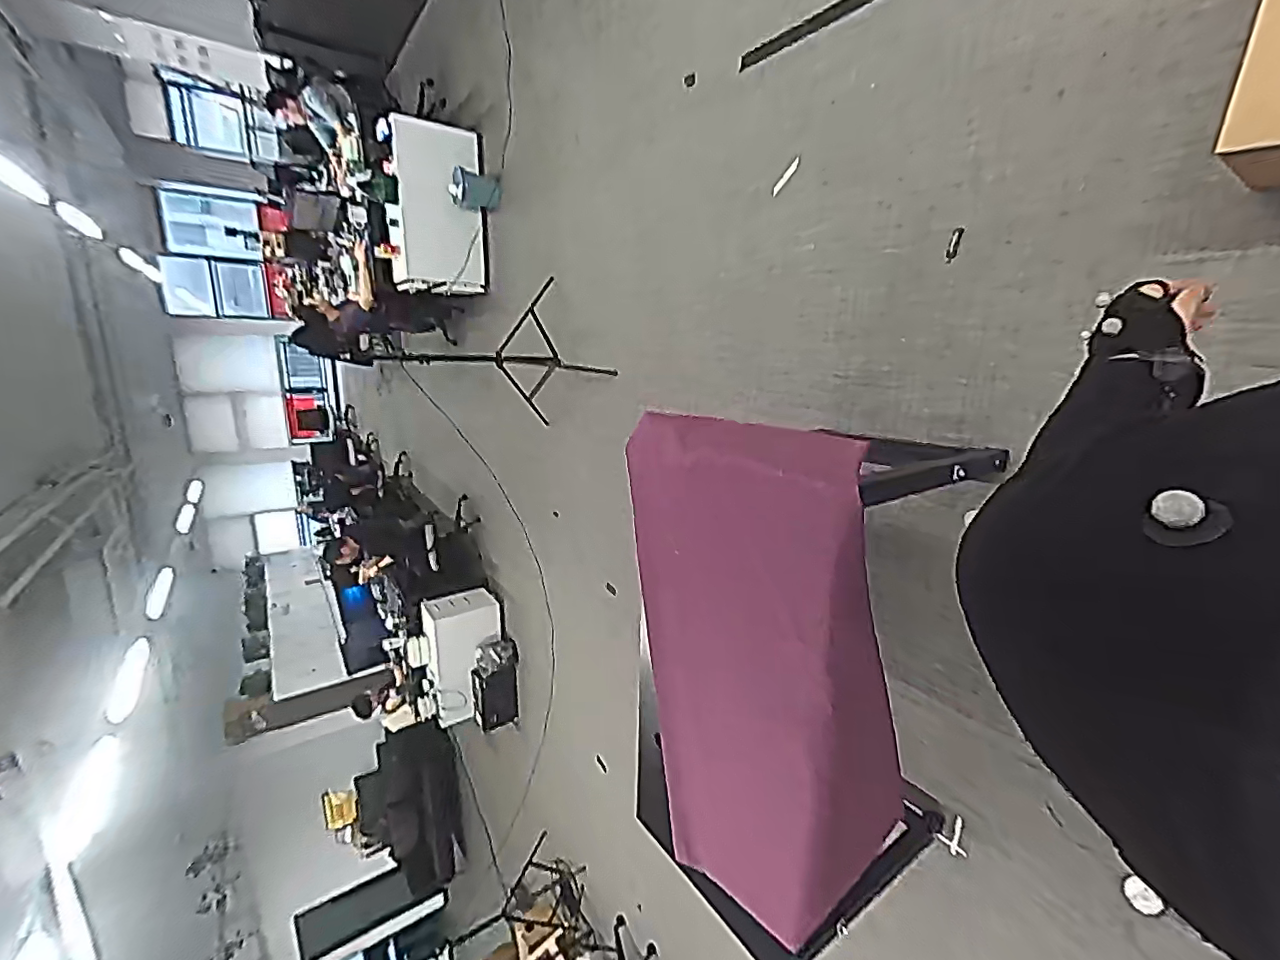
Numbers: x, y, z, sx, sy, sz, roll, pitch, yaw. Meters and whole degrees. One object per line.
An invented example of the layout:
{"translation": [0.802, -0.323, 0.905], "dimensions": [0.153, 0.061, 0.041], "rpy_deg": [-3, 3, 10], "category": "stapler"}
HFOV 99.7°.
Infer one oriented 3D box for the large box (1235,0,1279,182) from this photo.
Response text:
{"translation": [1.100, -0.665, 0.718], "dimensions": [0.320, 0.320, 0.408], "rpy_deg": [24, 118, 52], "category": "large box"}
